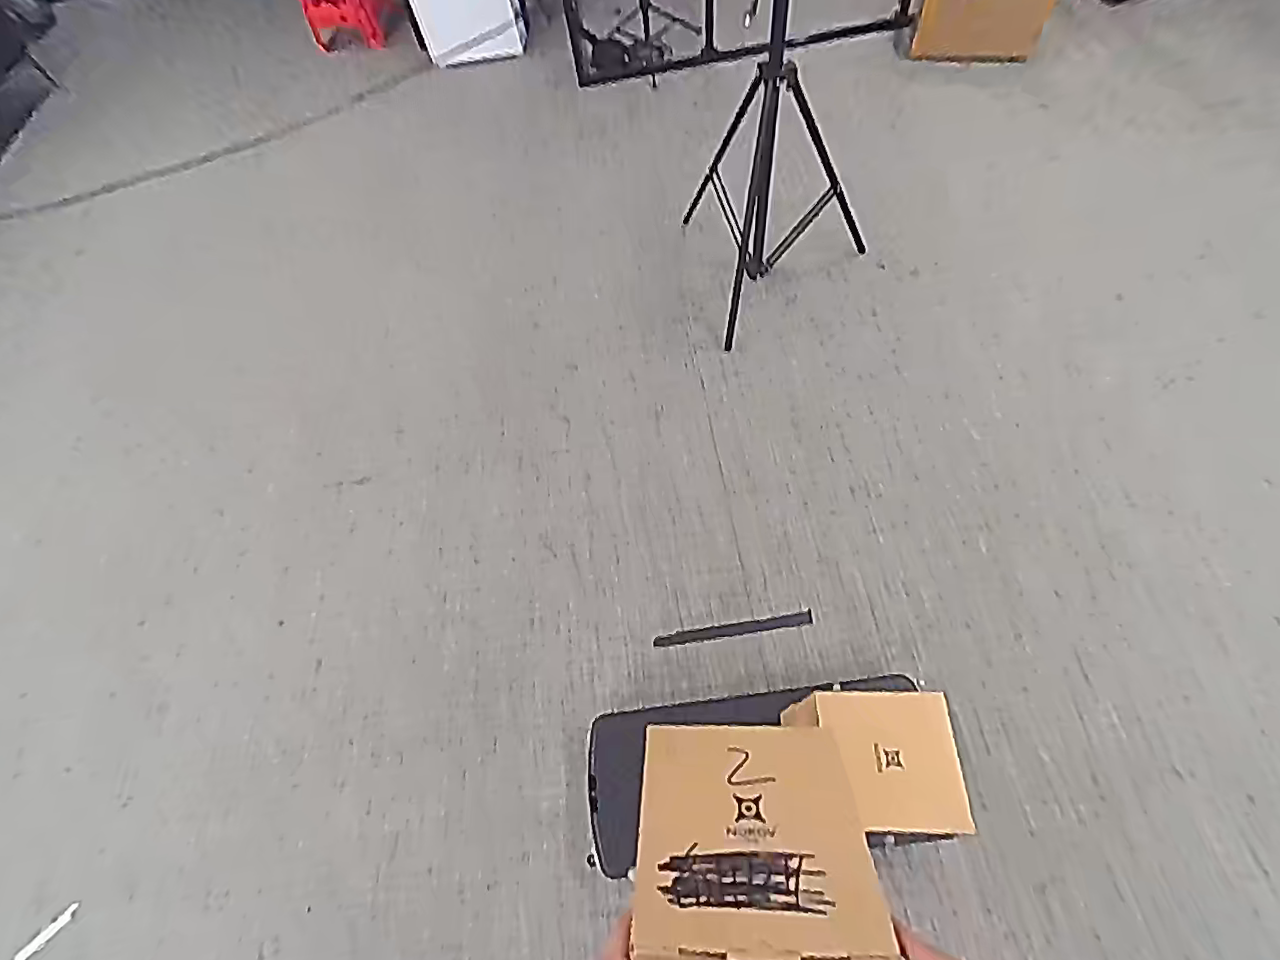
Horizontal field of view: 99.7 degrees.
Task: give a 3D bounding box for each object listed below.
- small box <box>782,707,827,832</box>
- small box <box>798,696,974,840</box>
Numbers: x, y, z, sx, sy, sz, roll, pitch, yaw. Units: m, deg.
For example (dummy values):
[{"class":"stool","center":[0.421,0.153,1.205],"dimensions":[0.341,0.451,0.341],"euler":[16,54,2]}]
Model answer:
[{"class":"small box","center":[0.343,0.485,0.919],"dimensions":[0.168,0.176,0.179],"euler":[-5,61,4]},{"class":"small box","center":[0.336,0.406,0.777],"dimensions":[0.179,0.176,0.168],"euler":[-3,62,7]}]
